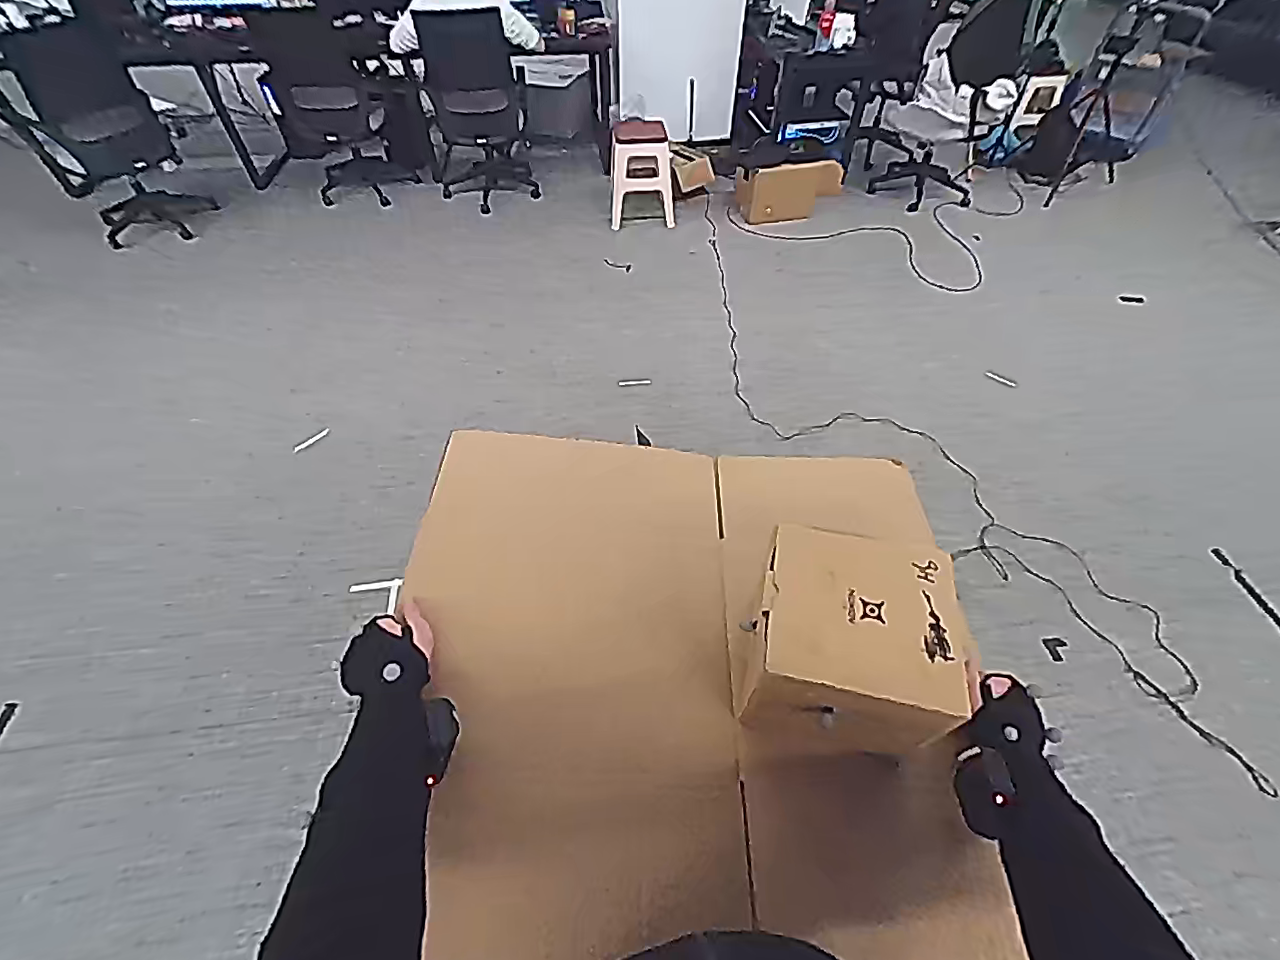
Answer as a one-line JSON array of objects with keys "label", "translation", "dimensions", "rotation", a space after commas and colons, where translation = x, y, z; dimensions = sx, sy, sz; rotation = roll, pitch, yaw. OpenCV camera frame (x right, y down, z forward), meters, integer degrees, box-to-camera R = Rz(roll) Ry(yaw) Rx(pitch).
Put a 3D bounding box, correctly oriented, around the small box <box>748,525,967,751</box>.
[{"label": "small box", "translation": [0.217, 0.173, 0.584], "dimensions": [0.179, 0.176, 0.168], "rotation": [9, 53, 10]}]
